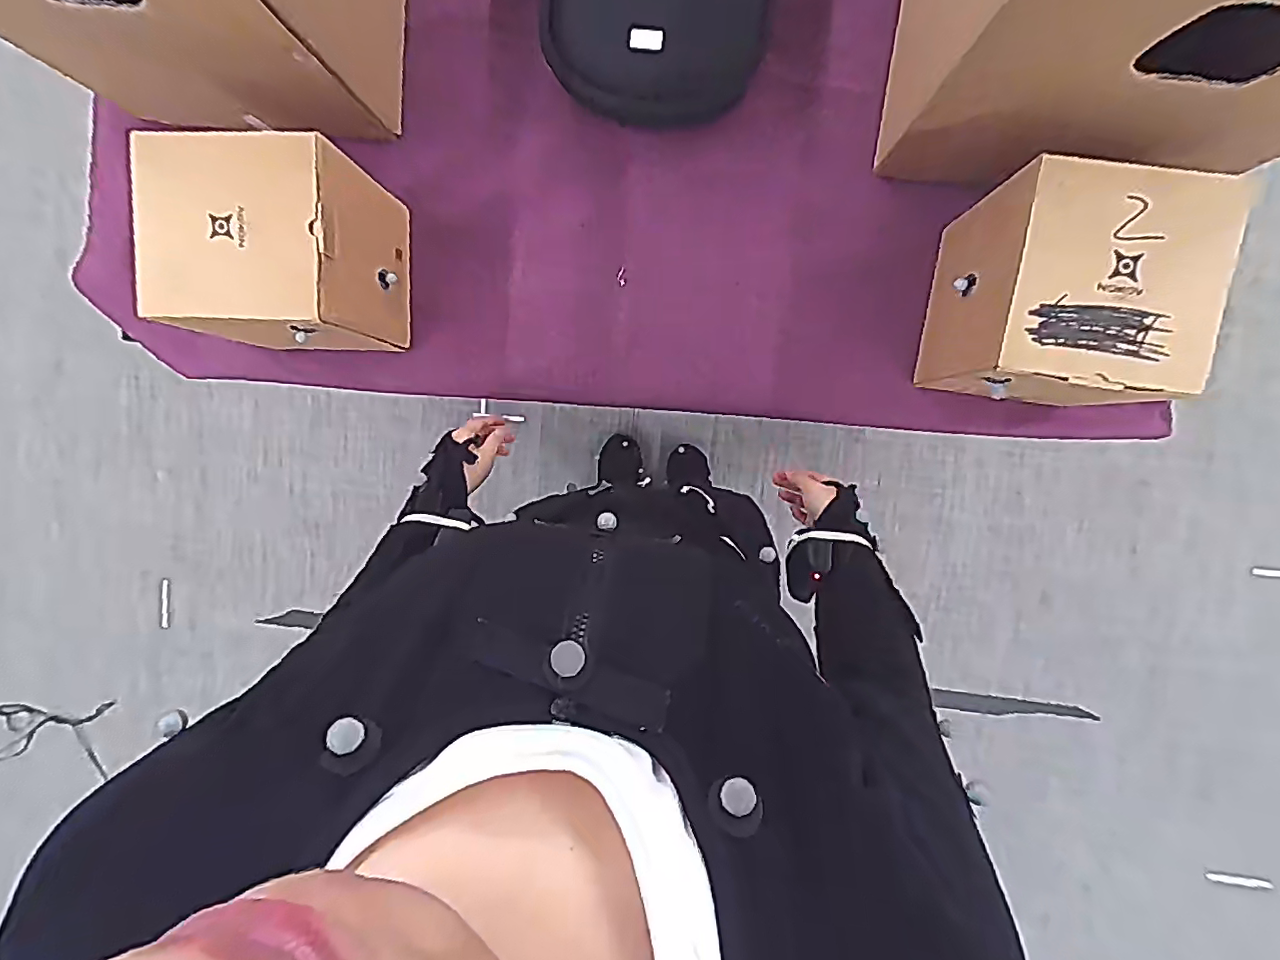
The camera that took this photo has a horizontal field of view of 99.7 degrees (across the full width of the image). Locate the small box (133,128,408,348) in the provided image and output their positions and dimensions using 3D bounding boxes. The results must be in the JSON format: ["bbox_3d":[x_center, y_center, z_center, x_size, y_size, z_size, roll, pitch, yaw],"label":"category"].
[{"bbox_3d":[-0.368,-0.236,0.566,0.179,0.176,0.168,1,94,2],"label":"small box"}]

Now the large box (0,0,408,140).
[{"bbox_3d":[-0.414,-0.586,0.464,0.320,0.320,0.408,5,98,2],"label":"large box"}]
